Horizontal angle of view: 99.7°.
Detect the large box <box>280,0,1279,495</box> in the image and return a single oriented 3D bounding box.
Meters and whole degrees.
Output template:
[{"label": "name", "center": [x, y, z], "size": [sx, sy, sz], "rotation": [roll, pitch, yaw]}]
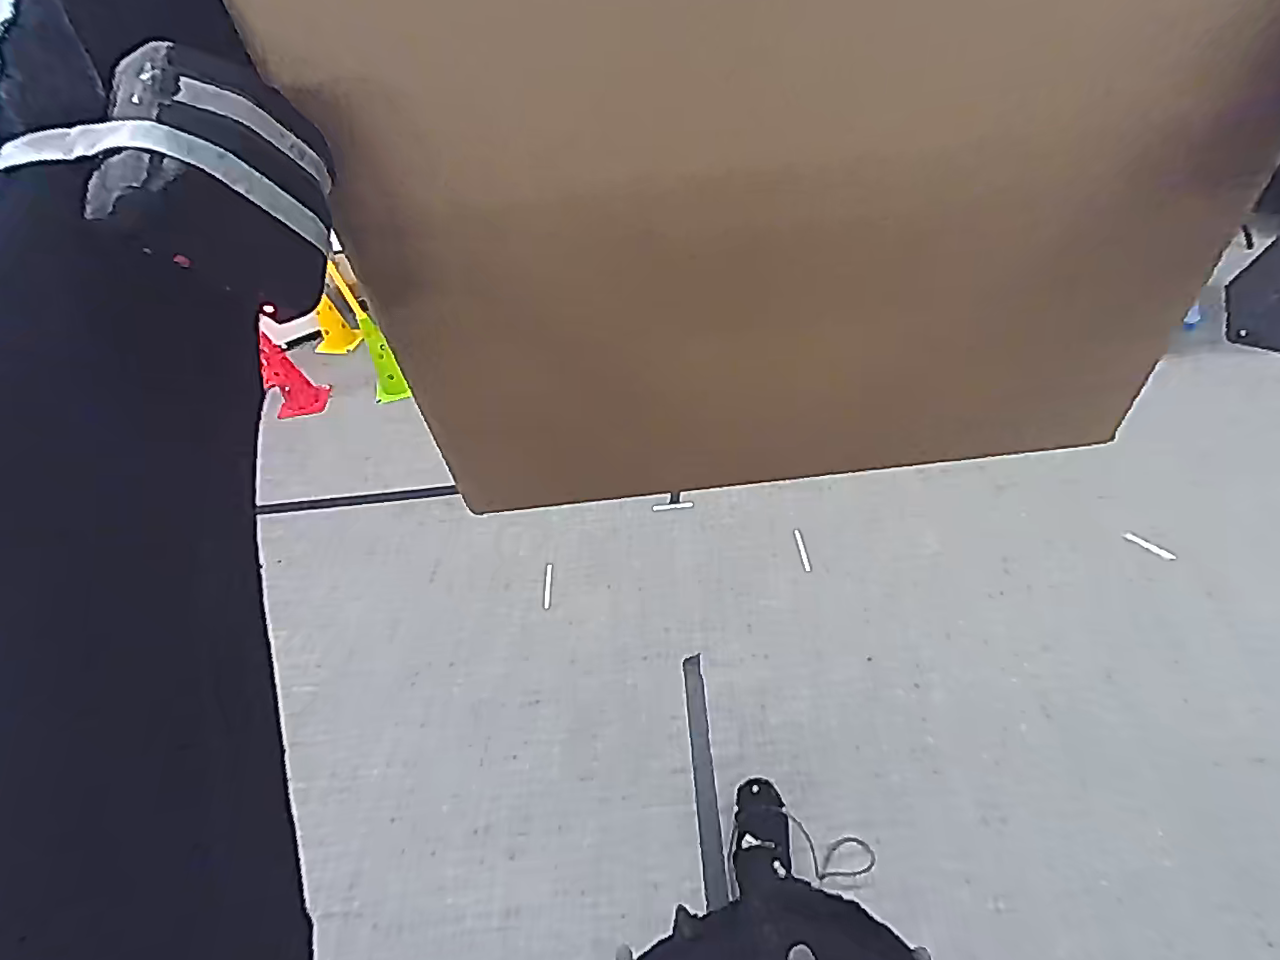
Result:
[{"label": "large box", "center": [0.063, -0.220, 0.366], "size": [0.408, 0.320, 0.320], "rotation": [-7, 43, 1]}]
